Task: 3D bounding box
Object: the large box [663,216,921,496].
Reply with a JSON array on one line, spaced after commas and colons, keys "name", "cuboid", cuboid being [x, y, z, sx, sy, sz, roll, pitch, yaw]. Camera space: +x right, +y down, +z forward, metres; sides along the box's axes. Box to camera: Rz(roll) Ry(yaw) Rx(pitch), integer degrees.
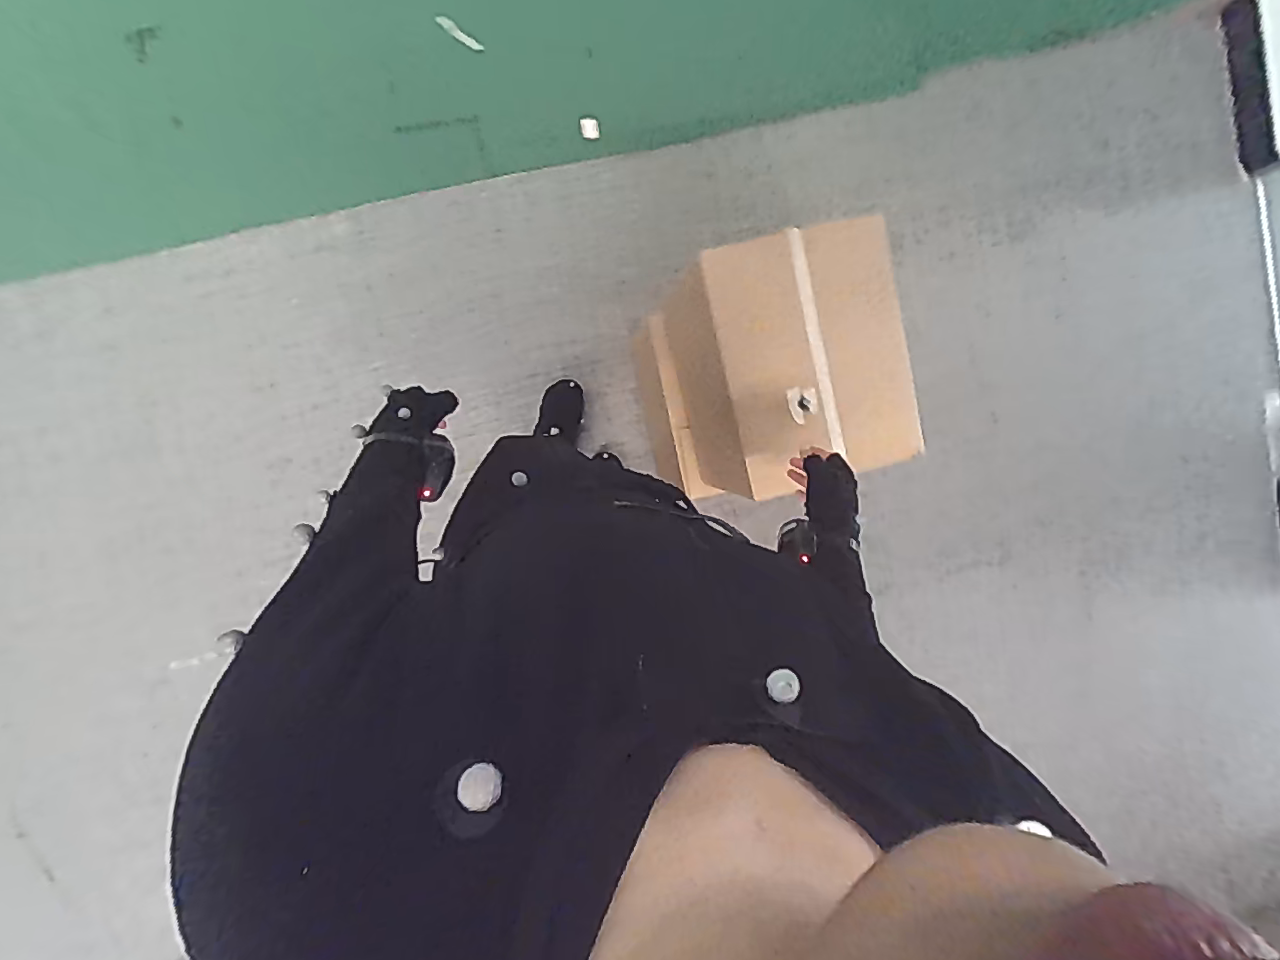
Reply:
[{"name": "large box", "cuboid": [0.262, -0.214, 1.019, 0.320, 0.320, 0.408, -14, 98, -8]}]
